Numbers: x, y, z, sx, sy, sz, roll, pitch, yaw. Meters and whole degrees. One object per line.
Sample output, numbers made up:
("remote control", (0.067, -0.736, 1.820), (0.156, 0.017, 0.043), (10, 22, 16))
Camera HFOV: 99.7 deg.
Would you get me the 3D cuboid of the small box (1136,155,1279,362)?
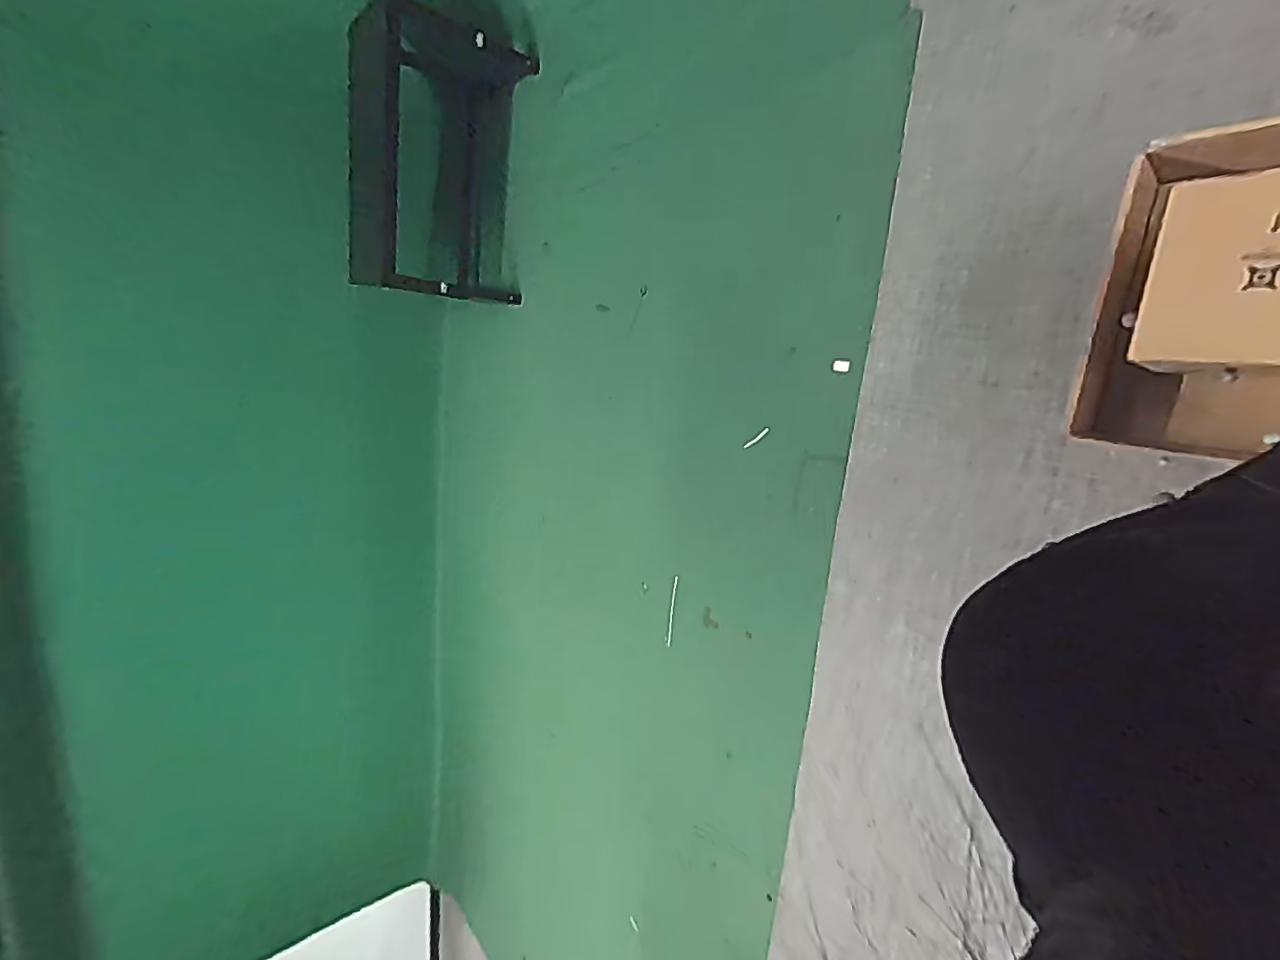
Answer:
("small box", (0.642, -0.211, 0.543), (0.168, 0.176, 0.179), (18, 107, 47))
